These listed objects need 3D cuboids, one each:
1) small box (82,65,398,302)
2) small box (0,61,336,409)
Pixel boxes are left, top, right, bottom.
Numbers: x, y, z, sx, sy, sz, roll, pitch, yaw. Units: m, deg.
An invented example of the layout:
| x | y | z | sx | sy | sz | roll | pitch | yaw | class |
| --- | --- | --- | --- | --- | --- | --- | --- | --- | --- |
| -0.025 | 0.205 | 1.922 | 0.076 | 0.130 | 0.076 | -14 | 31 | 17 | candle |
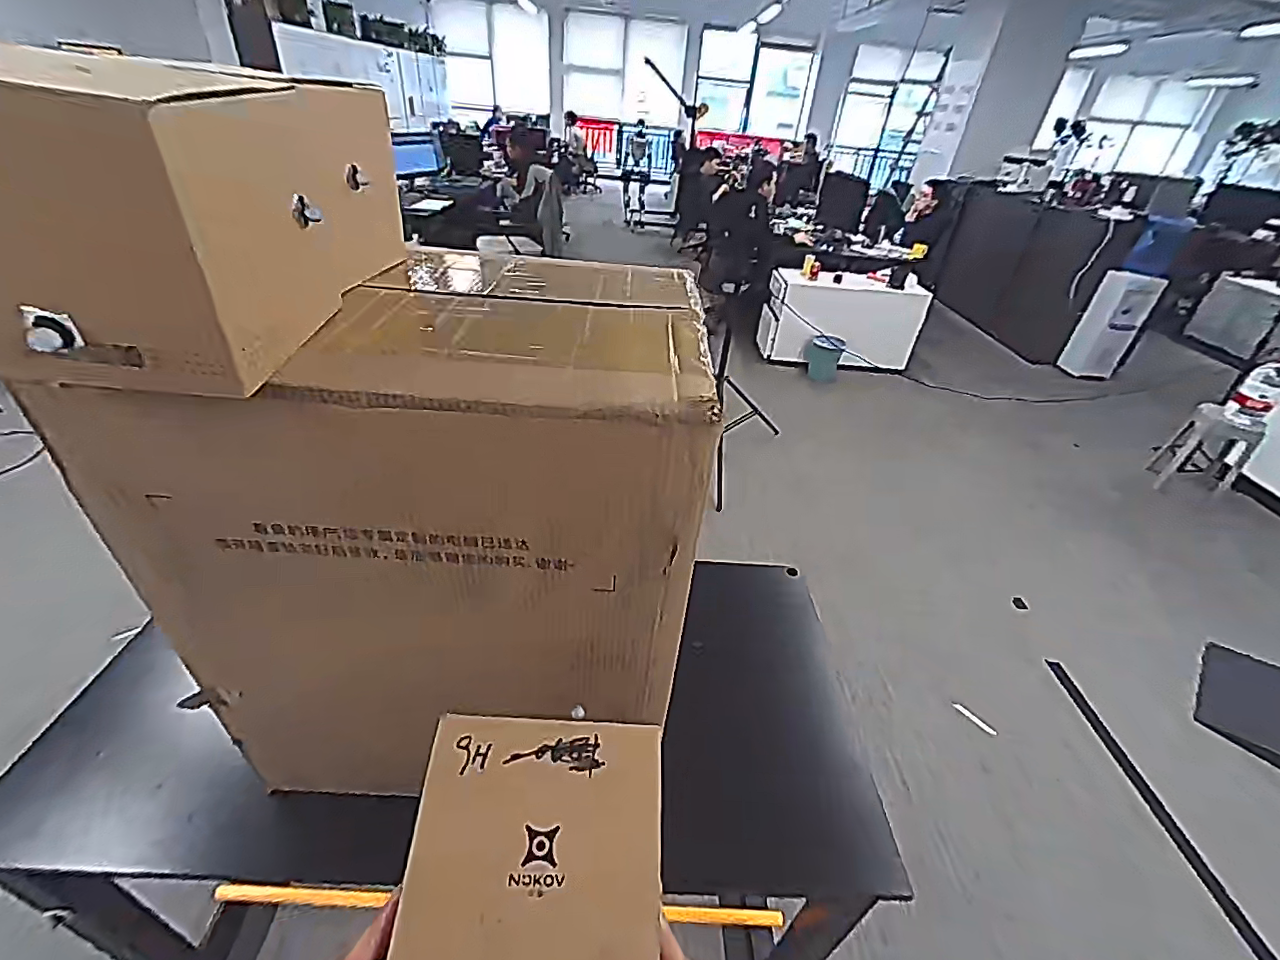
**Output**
| x | y | z | sx | sy | sz | roll | pitch | yaw | class |
| --- | --- | --- | --- | --- | --- | --- | --- | --- | --- |
| -0.354 | -0.283 | 0.526 | 0.168 | 0.176 | 0.179 | 6 | 34 | 0 | small box |
| -0.333 | -0.168 | 0.372 | 0.168 | 0.176 | 0.179 | 2 | 38 | -8 | small box |
